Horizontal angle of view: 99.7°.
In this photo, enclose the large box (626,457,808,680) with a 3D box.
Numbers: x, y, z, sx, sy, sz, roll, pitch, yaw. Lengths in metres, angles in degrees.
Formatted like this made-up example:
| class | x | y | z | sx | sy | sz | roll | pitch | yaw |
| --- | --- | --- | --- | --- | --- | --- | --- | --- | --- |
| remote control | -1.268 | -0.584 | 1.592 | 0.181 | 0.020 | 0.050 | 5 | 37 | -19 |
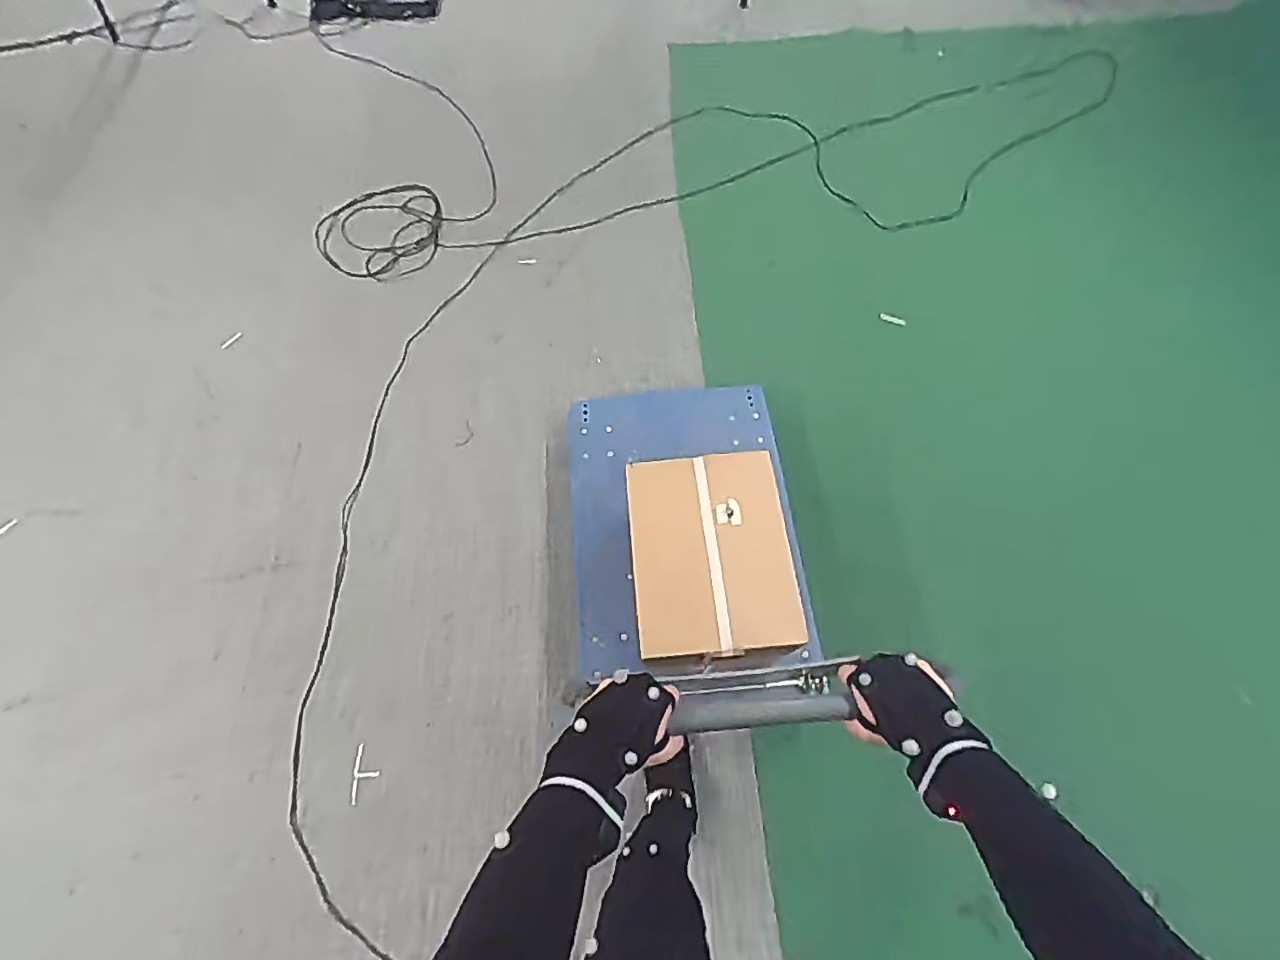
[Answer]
| class | x | y | z | sx | sy | sz | roll | pitch | yaw |
| --- | --- | --- | --- | --- | --- | --- | --- | --- | --- |
| large box | 0.146 | 0.208 | 1.214 | 0.320 | 0.320 | 0.408 | -5 | 63 | -1 |
